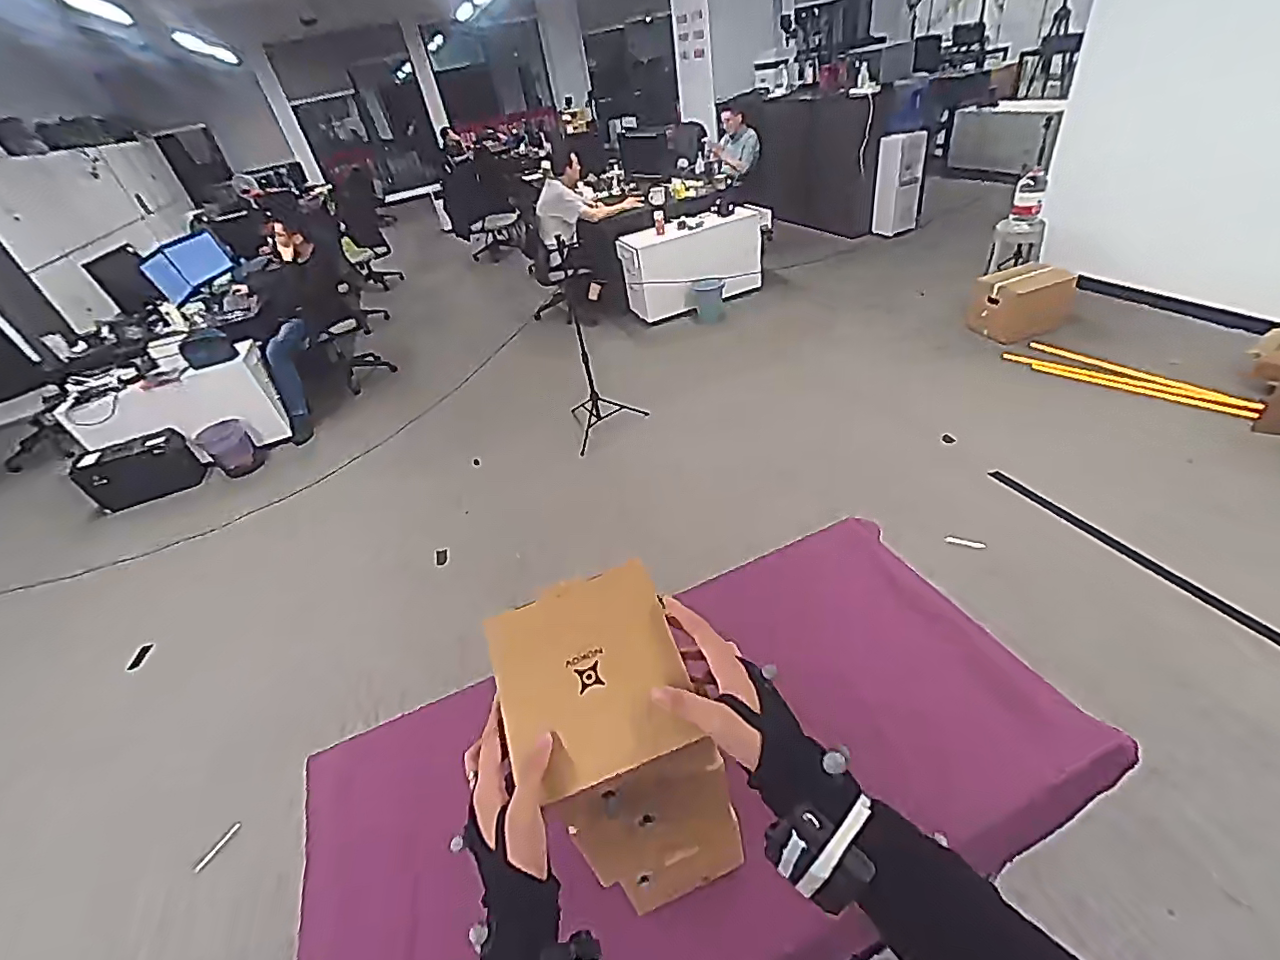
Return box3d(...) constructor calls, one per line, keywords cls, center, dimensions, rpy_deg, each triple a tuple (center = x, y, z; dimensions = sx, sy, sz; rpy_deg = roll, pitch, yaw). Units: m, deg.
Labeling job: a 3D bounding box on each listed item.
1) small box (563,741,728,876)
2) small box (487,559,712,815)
box3d(cls="small box", center=(-0.004, 0.350, 0.674), dimensions=(0.179, 0.176, 0.168), rpy_deg=(-19, 38, -9))
box3d(cls="small box", center=(-0.034, 0.216, 0.547), dimensions=(0.168, 0.176, 0.179), rpy_deg=(-21, 52, -5))
